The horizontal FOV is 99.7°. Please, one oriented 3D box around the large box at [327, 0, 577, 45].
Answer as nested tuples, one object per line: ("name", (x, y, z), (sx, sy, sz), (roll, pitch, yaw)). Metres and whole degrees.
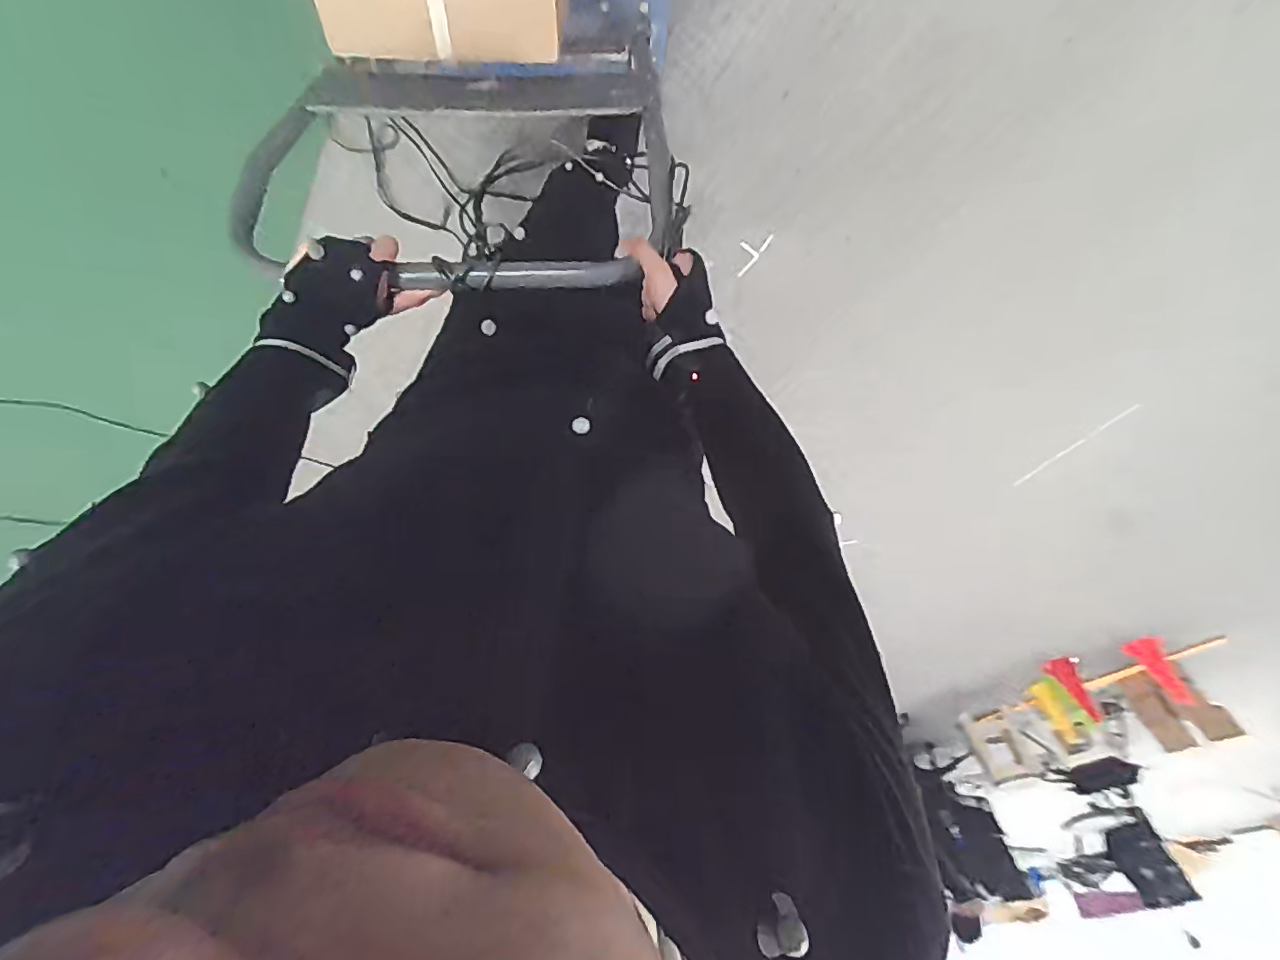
("large box", (-0.255, -0.837, 0.688), (0.320, 0.320, 0.408), (-1, 139, -2))
